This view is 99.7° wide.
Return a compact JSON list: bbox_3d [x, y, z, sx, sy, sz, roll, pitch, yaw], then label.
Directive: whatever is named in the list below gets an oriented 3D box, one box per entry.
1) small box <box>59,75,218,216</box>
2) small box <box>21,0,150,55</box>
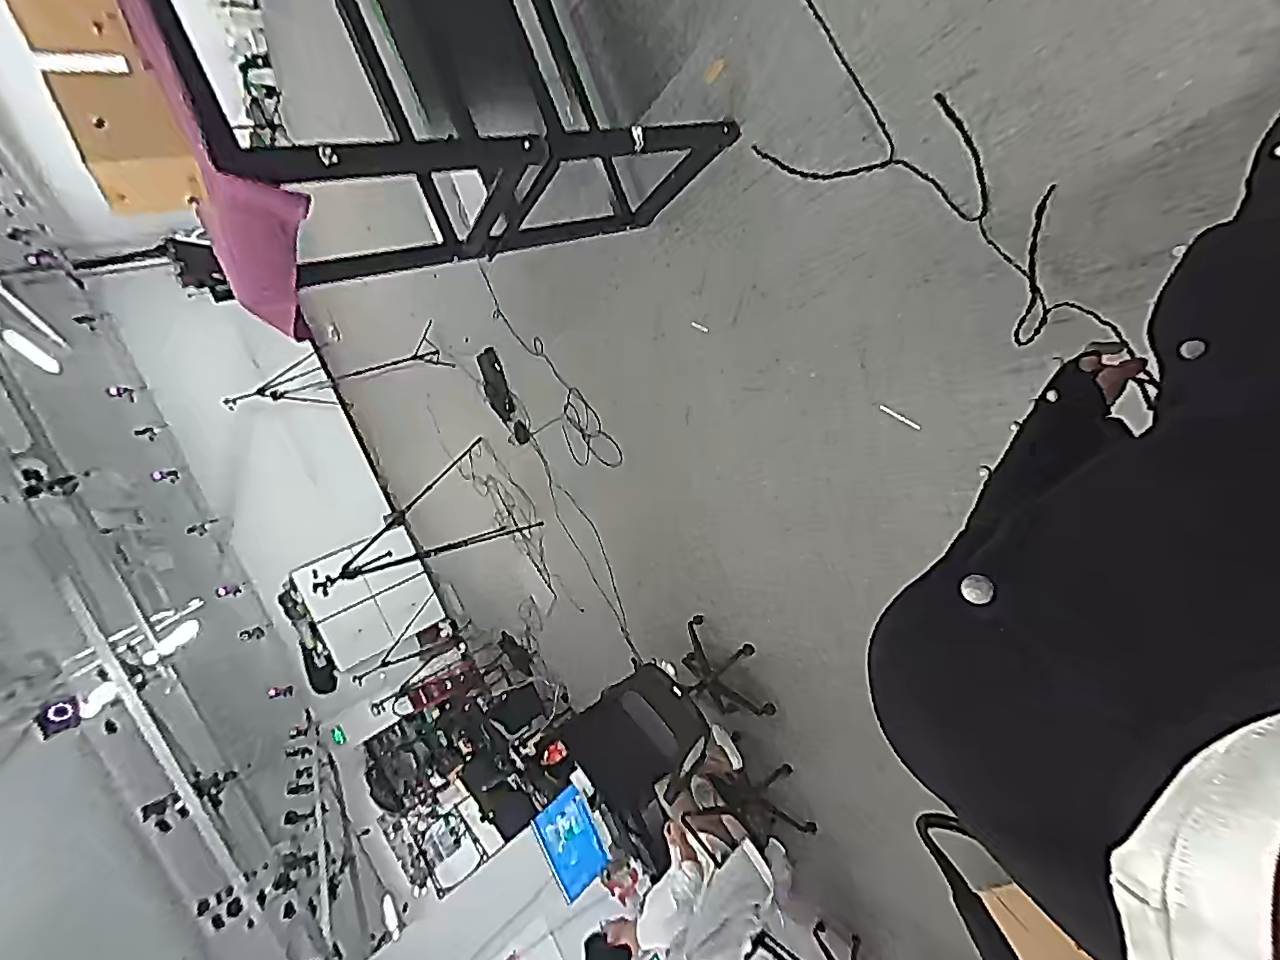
[{"bbox_3d":[-0.962,-0.656,1.063,0.168,0.176,0.179,-18,96,58],"label":"small box"},{"bbox_3d":[-1.094,-0.958,1.037,0.168,0.176,0.179,-11,103,59],"label":"small box"}]
